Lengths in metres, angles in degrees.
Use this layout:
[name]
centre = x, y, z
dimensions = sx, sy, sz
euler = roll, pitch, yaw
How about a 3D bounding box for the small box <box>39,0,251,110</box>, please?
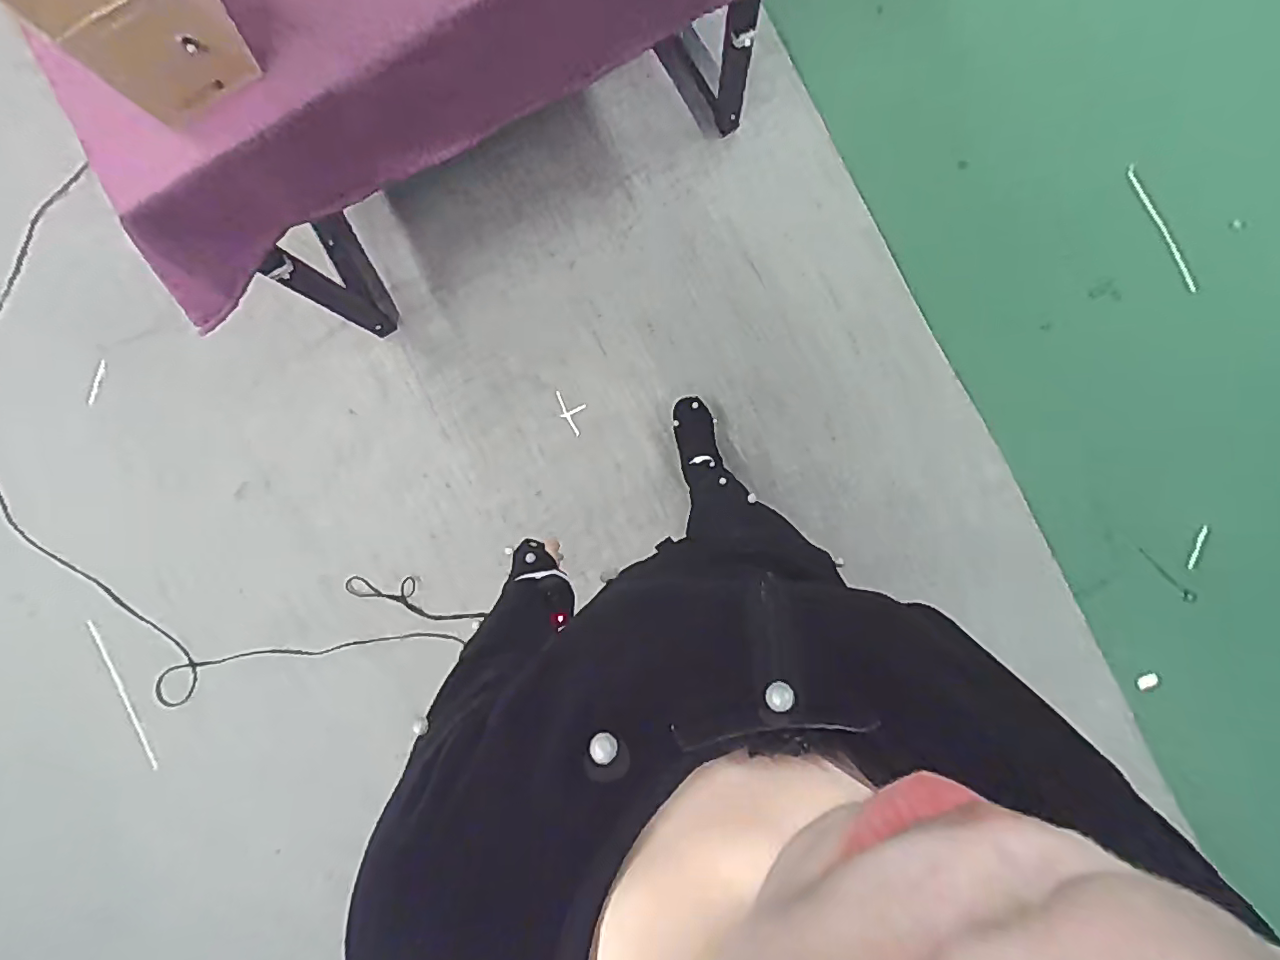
[small box]
centre = -0.686, -0.651, 0.734
dimensions = 0.168, 0.176, 0.179
euler = -31, 87, 1
